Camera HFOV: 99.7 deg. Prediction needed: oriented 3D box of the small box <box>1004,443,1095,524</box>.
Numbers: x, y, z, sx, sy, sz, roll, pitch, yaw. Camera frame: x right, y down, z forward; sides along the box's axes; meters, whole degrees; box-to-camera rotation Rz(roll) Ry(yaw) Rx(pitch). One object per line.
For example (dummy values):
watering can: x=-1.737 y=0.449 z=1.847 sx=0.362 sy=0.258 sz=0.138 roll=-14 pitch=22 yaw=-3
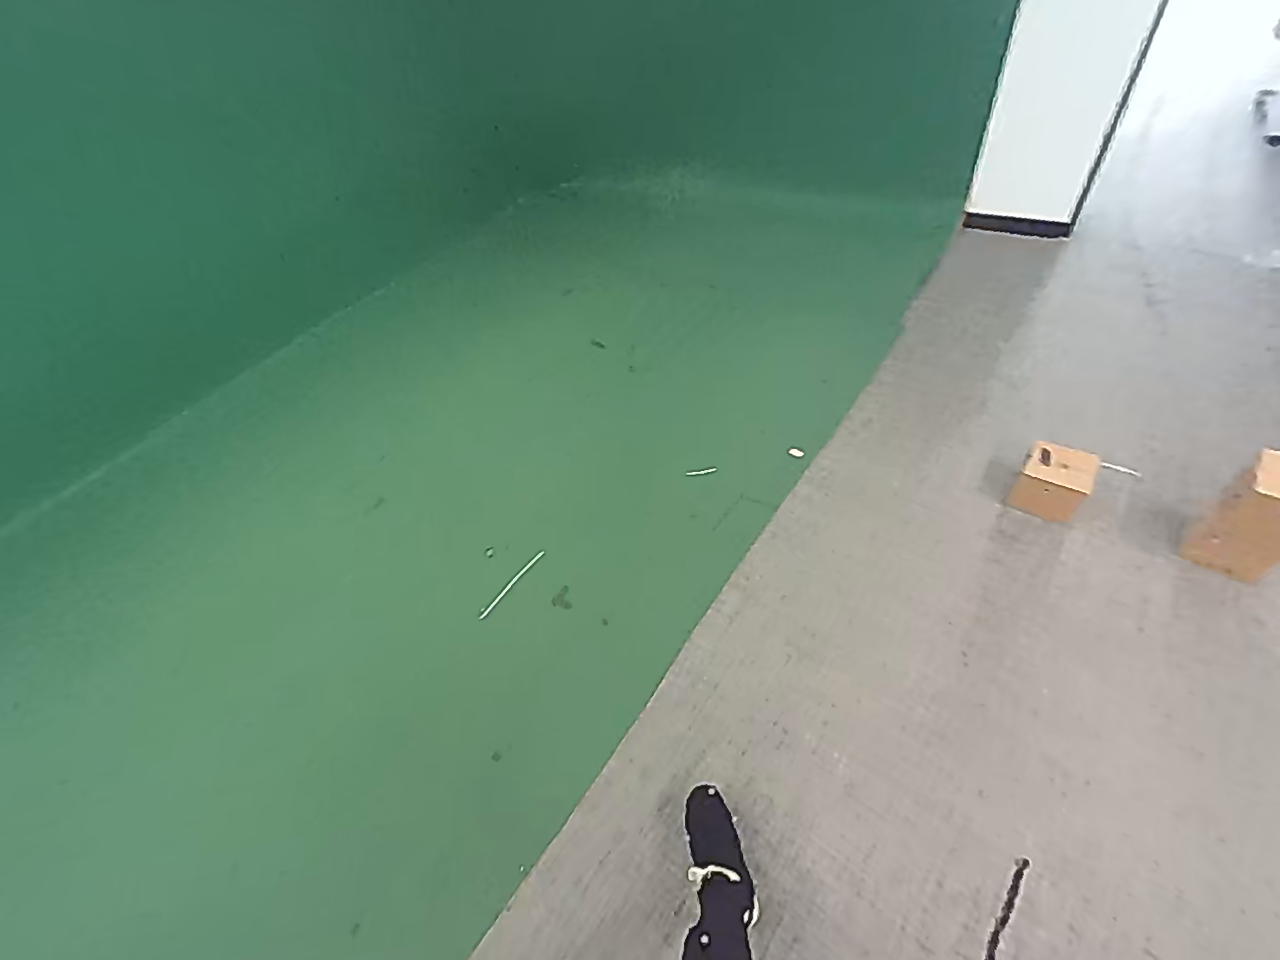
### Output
small box: x=1.306 y=0.015 z=1.735 sx=0.179 sy=0.176 sz=0.168 roll=25 pitch=59 yaw=29

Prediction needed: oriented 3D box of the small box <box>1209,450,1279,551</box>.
small box: x=1.640 y=0.058 z=1.399 sx=0.179 sy=0.176 sz=0.168 roll=26 pitch=61 yaw=30
